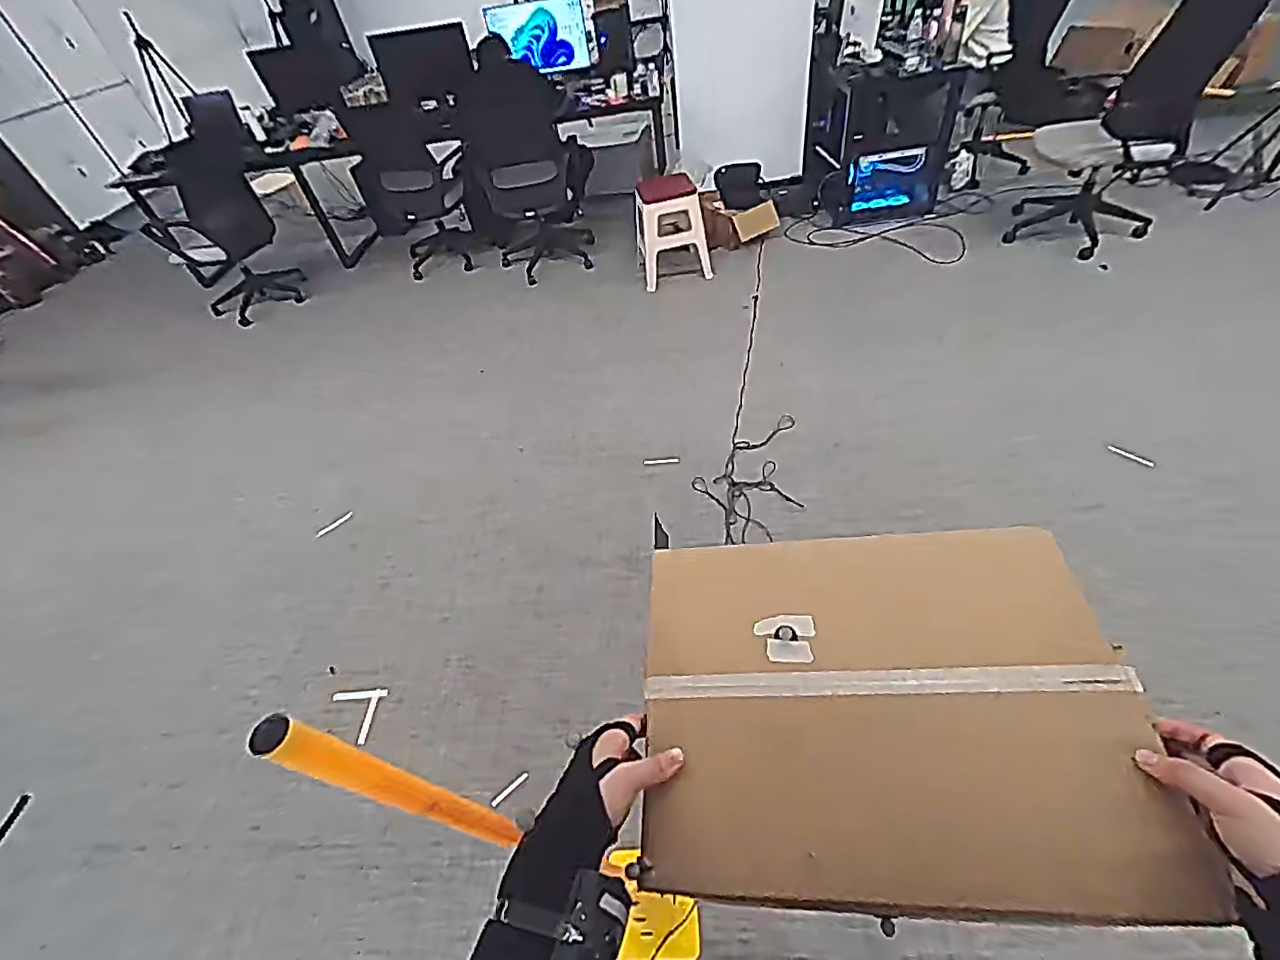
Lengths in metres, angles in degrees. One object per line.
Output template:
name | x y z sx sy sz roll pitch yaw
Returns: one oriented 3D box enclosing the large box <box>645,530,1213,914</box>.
large box | 0.238 0.283 0.607 0.408 0.320 0.320 -6 49 12
